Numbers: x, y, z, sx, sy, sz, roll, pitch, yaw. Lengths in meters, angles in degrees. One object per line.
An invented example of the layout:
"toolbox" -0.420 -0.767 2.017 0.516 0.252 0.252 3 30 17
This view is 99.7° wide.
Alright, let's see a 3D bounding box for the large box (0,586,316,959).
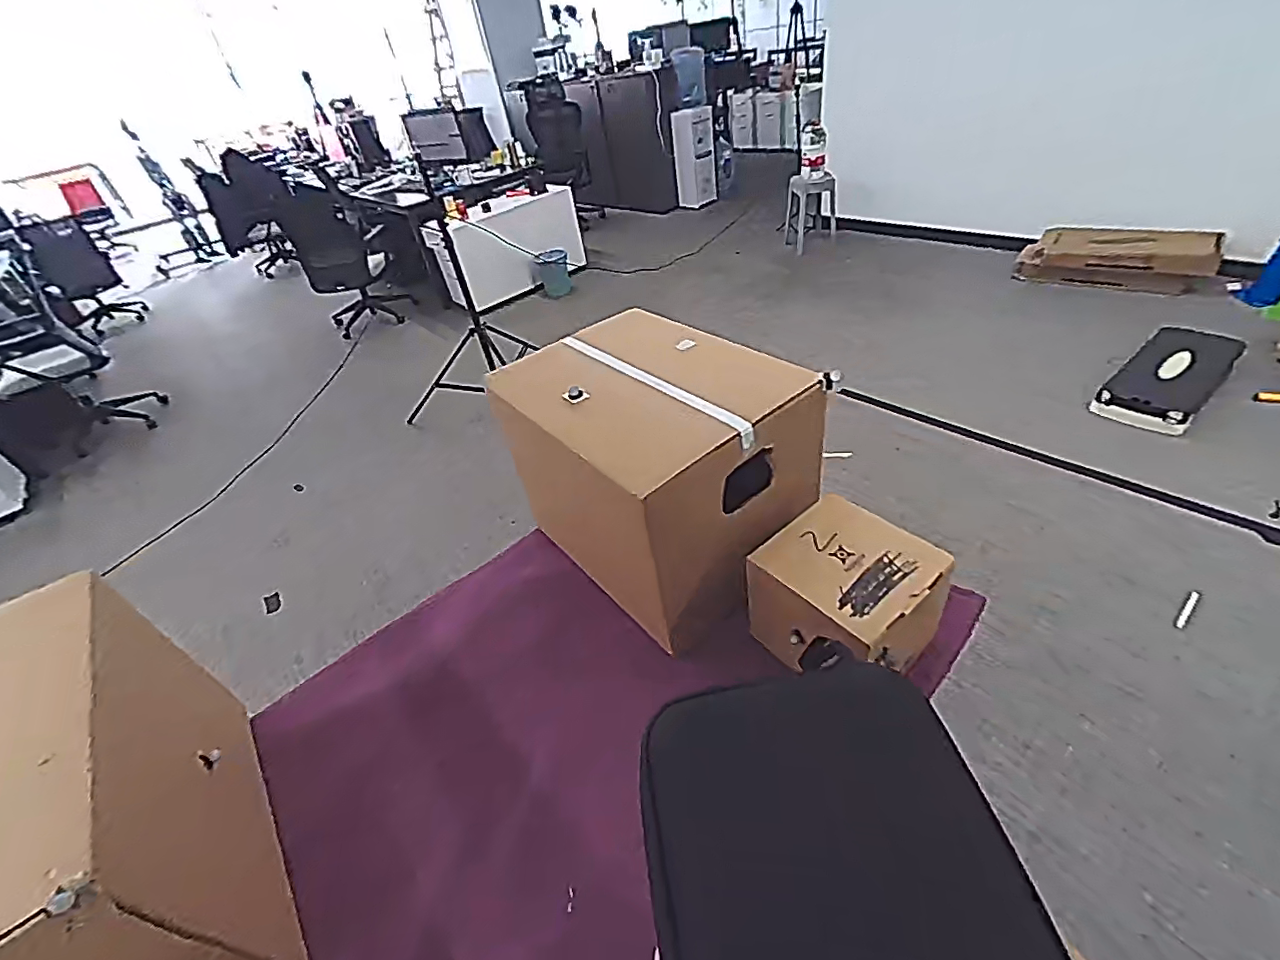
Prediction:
"large box" -0.595 0.389 0.529 0.320 0.320 0.408 -34 46 -26
